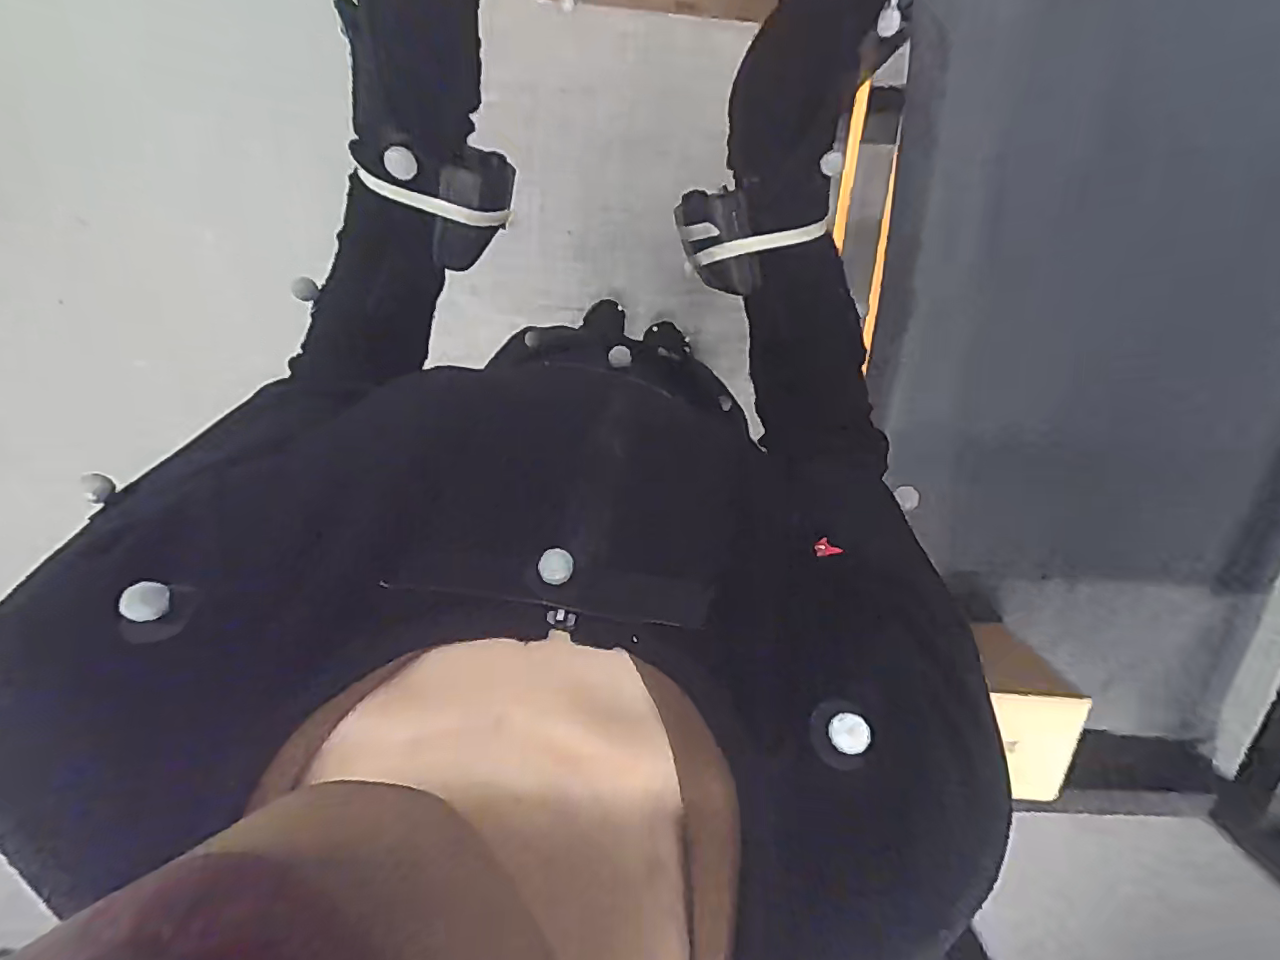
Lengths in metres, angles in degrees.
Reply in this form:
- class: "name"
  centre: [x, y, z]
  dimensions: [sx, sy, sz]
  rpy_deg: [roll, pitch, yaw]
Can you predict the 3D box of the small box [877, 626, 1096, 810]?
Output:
- class: "small box"
  centre: [0.459, 0.319, 0.749]
  dimensions: [0.179, 0.176, 0.168]
  rpy_deg: [3, 107, 0]
